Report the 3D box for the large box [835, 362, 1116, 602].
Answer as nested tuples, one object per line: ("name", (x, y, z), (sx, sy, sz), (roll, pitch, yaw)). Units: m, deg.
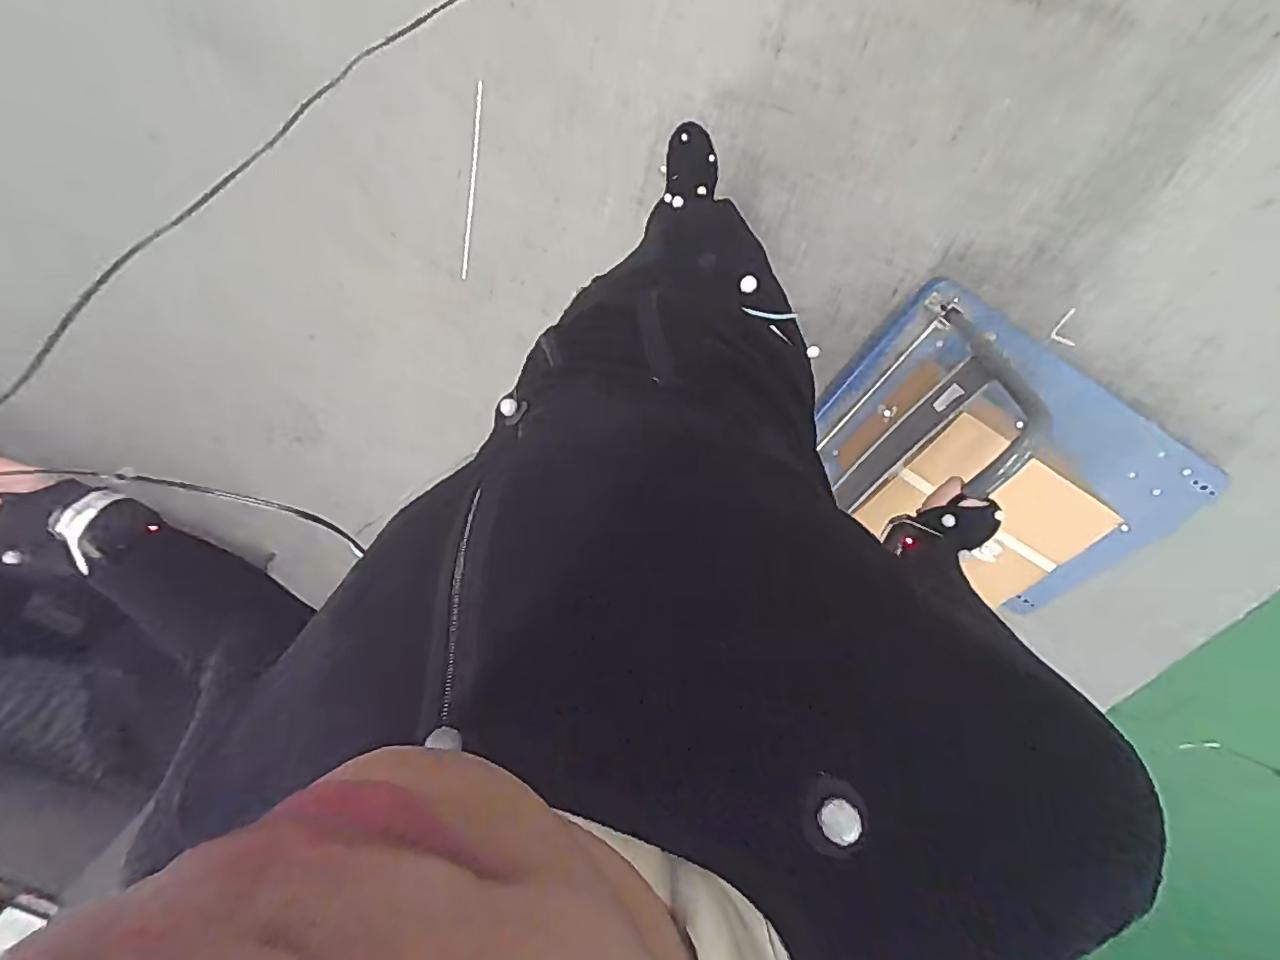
("large box", (0.719, -0.003, 1.238), (0.408, 0.320, 0.320), (31, 124, -7))
